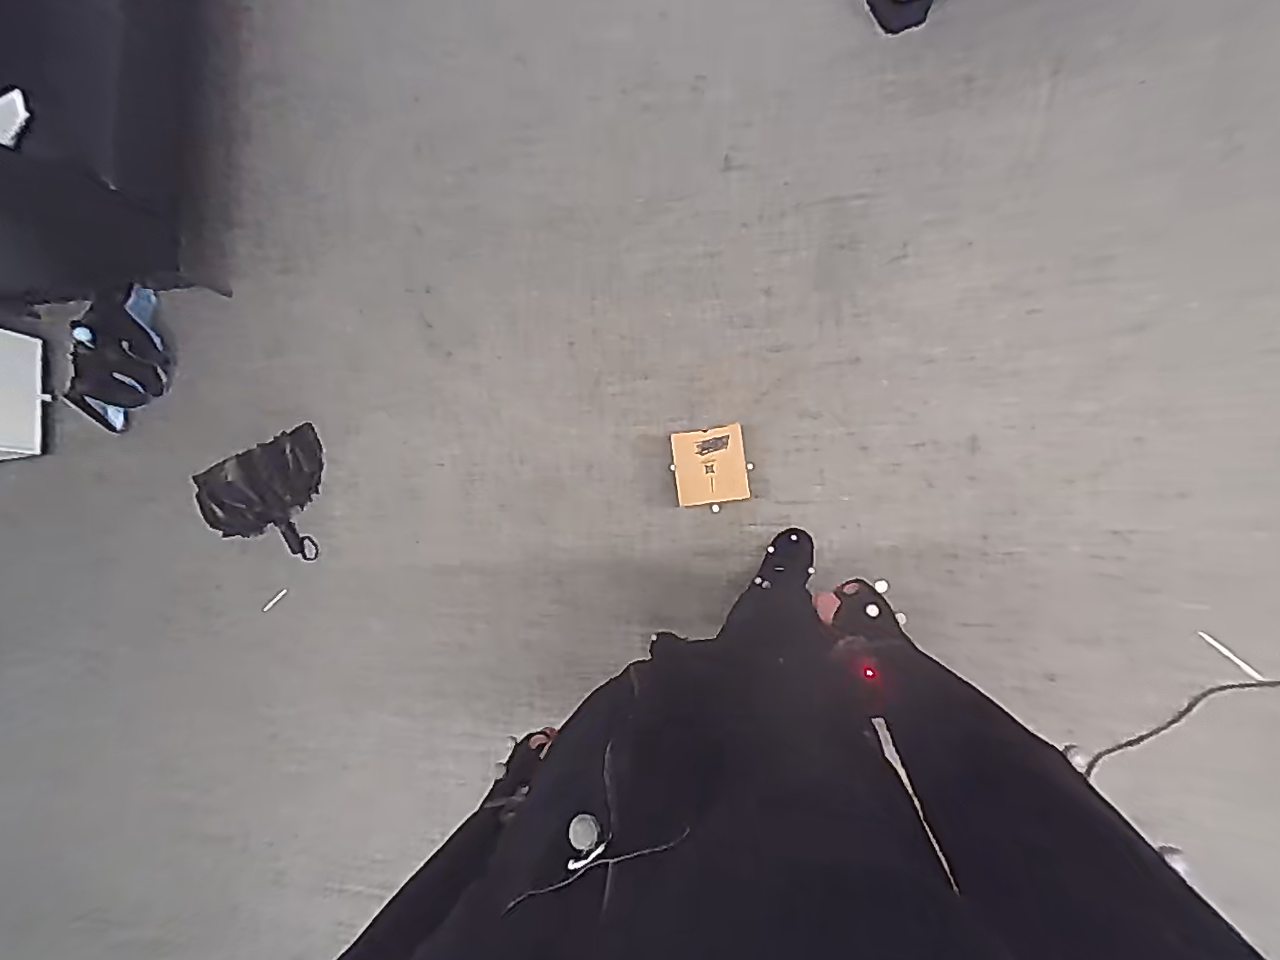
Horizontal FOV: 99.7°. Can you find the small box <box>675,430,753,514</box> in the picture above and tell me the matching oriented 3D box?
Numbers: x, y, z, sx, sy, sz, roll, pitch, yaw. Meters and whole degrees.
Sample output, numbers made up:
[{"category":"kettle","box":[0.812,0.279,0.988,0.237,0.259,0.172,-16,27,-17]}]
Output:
[{"category":"small box","box":[0.184,-0.014,1.328,0.168,0.176,0.179,-8,84,11]}]
